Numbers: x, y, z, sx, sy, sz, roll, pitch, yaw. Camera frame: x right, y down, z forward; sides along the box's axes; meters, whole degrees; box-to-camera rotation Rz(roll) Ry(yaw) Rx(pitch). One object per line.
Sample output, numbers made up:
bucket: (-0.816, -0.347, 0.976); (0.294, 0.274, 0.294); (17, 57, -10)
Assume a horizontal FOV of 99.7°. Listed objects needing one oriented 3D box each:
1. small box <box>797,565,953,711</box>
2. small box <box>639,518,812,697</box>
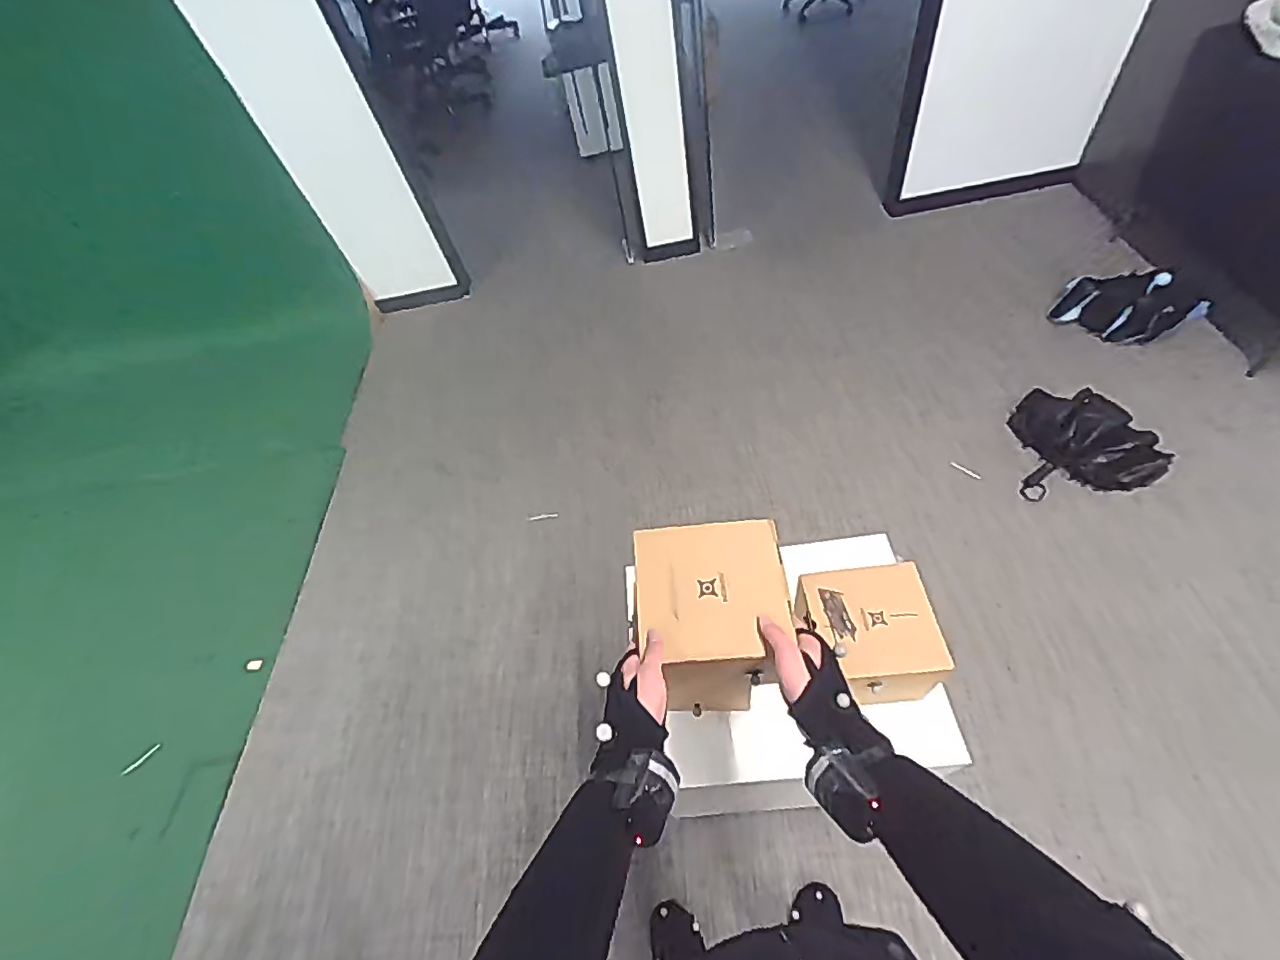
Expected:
small box: (0.343, 0.251, 0.842); (0.179, 0.176, 0.168); (-6, 53, 3)
small box: (0.093, 0.164, 0.674); (0.179, 0.176, 0.168); (-6, 57, 1)
